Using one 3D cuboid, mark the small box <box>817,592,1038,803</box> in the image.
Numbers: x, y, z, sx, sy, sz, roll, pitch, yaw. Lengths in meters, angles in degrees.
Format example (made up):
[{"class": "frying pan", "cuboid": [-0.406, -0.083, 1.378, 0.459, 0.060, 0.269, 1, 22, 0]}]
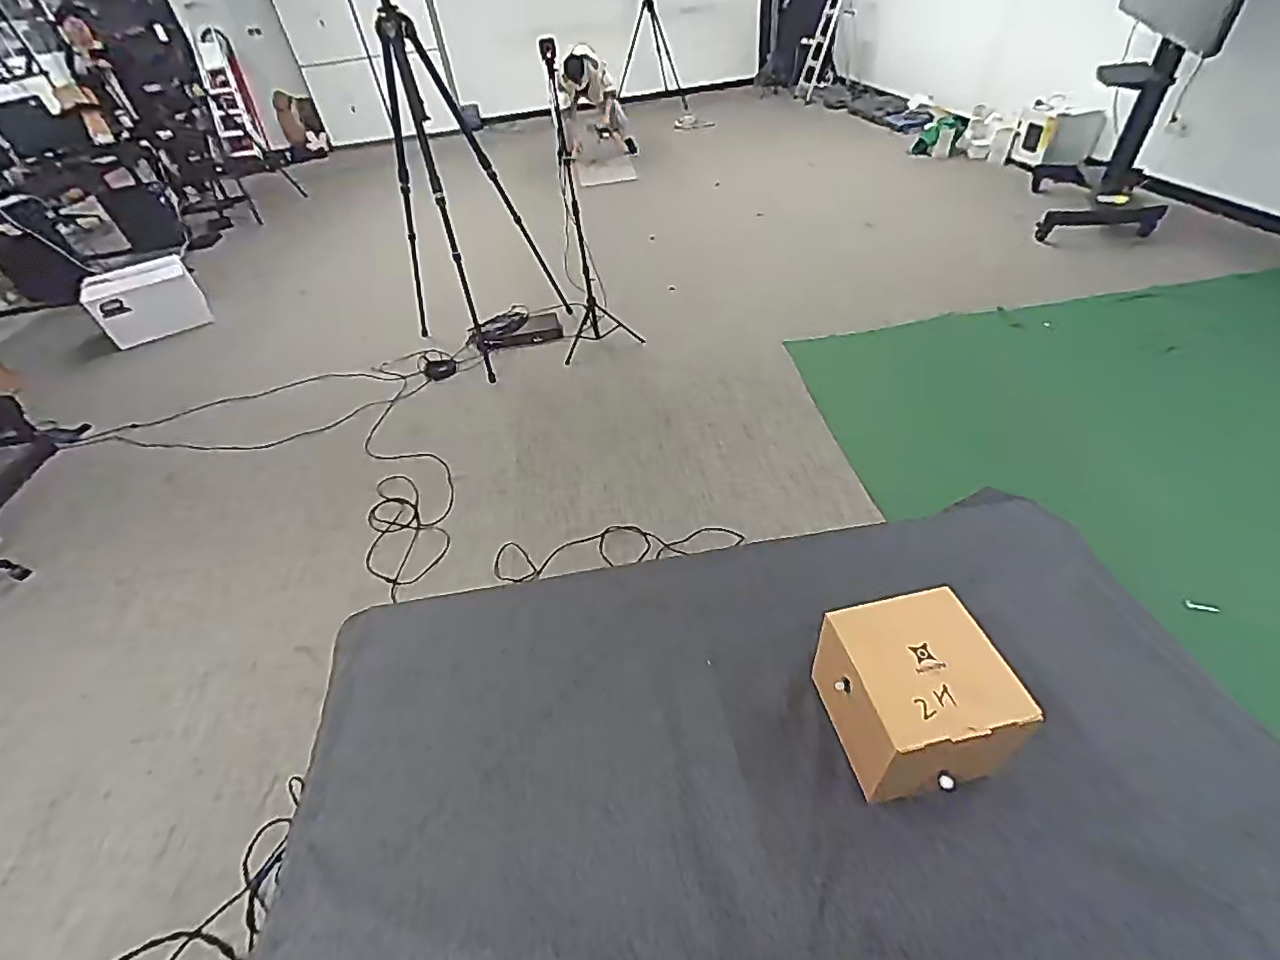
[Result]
[{"class": "small box", "cuboid": [0.339, 0.273, 0.684, 0.168, 0.176, 0.179, -12, 43, -3]}]
